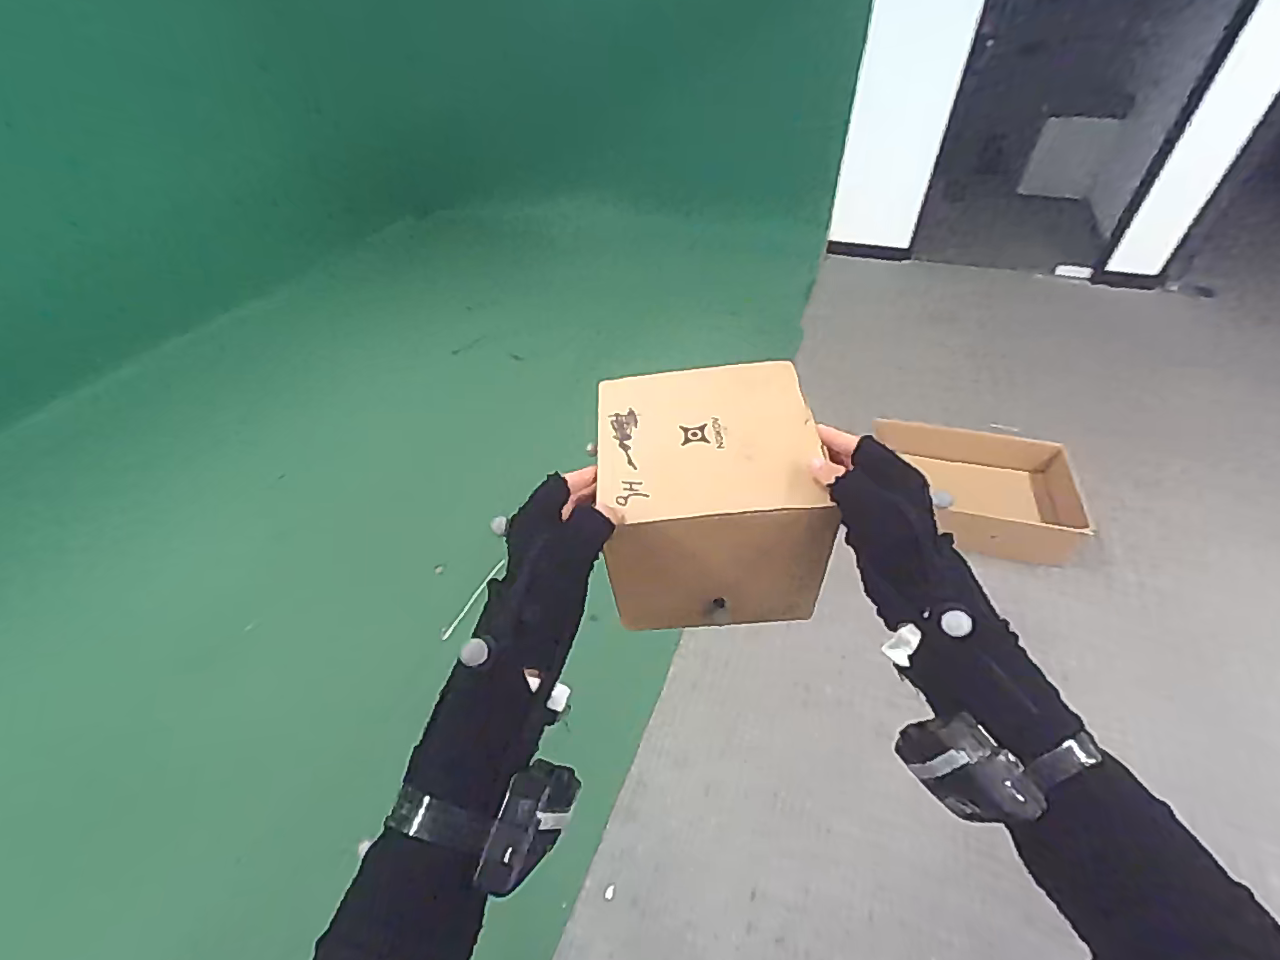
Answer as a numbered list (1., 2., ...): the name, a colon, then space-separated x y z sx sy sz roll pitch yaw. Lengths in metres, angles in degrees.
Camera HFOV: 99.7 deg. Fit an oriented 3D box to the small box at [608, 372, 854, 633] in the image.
1. small box: 0.068 0.025 0.490 0.179 0.176 0.168 -5 48 3
